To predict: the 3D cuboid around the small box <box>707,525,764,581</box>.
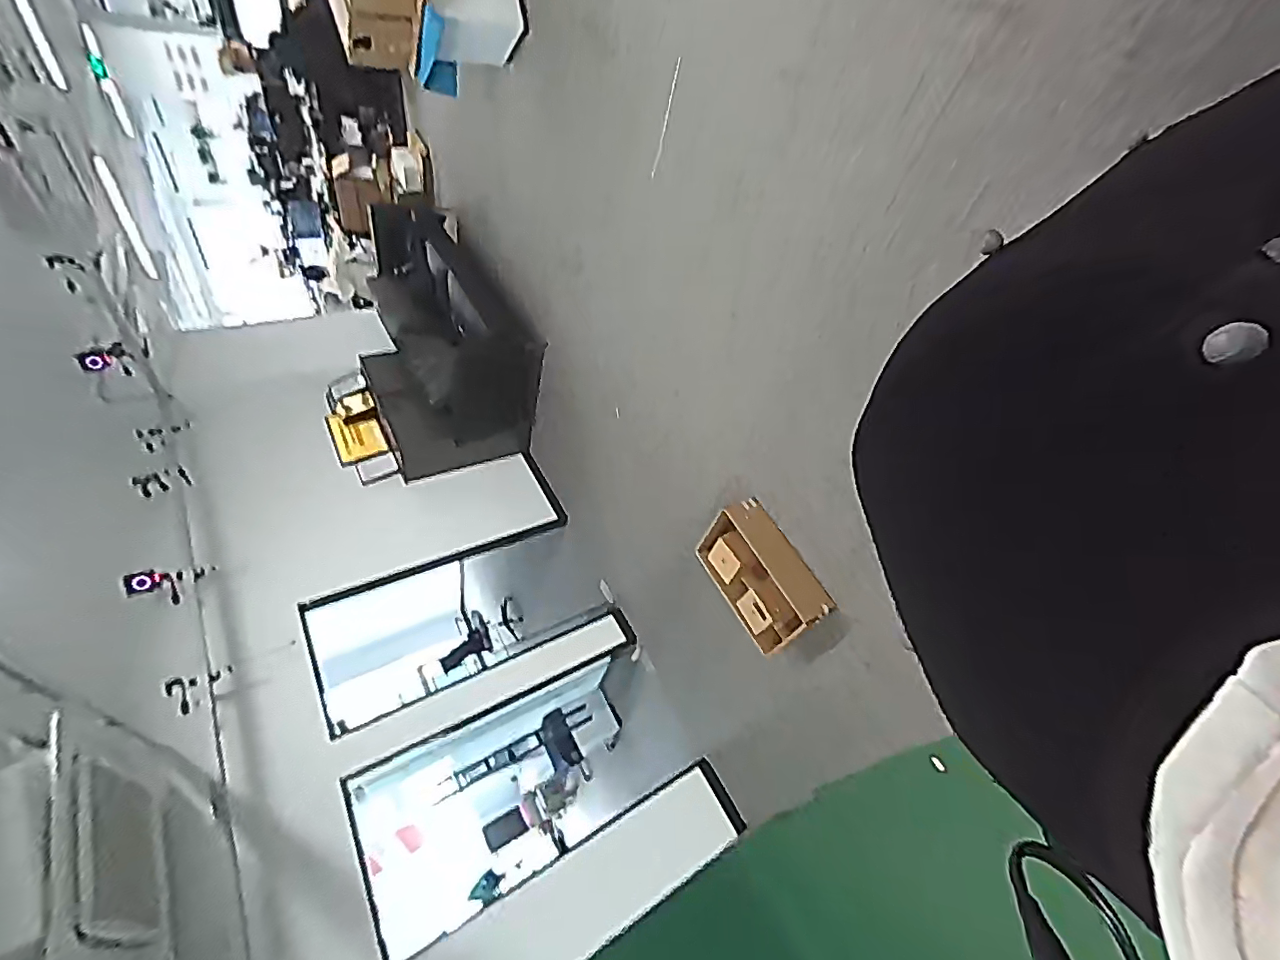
[{"bbox_3d":[0.450,0.340,2.533,0.168,0.176,0.179,55,145,28],"label":"small box"}]
